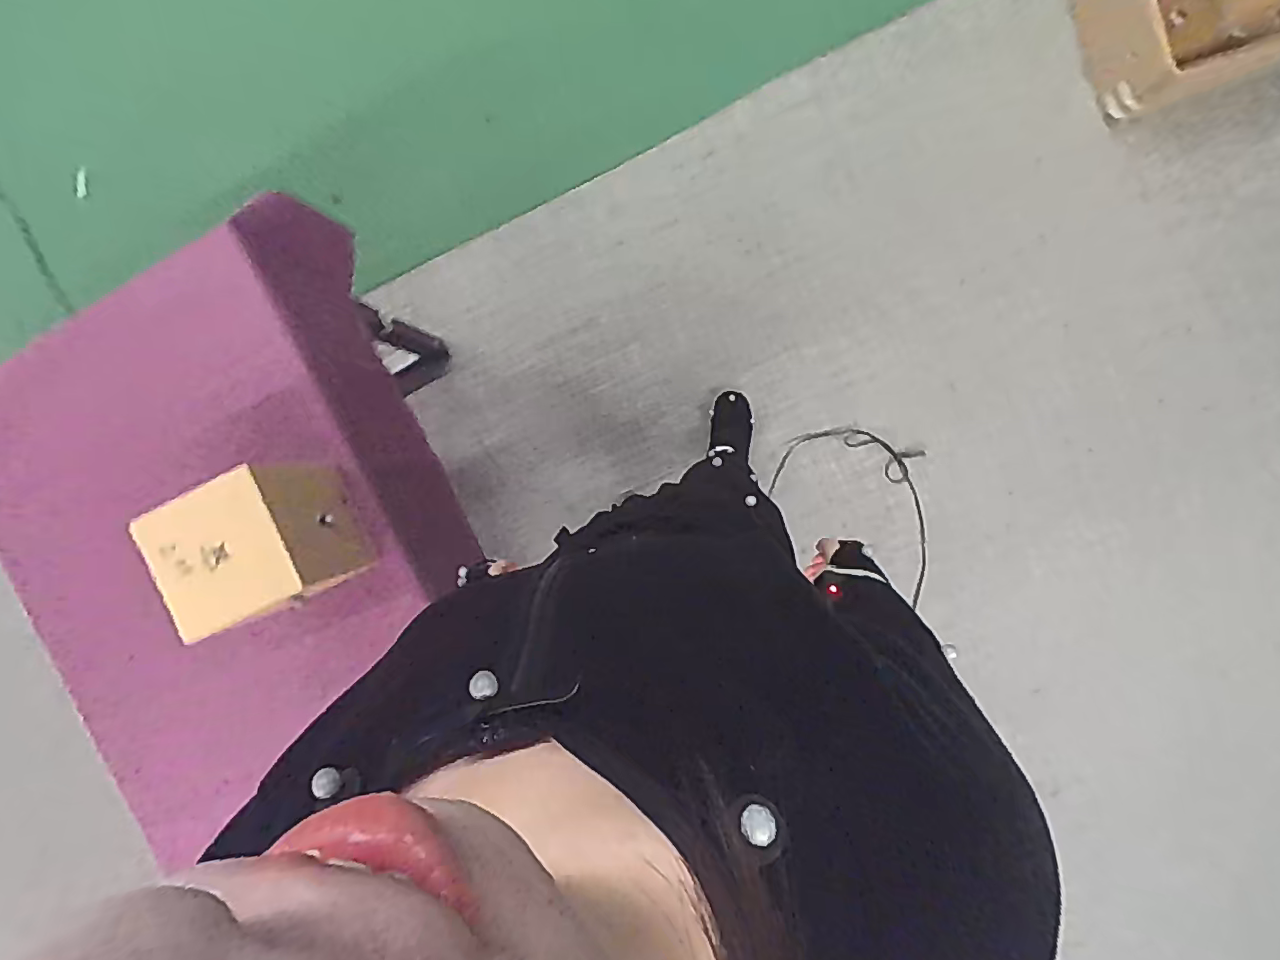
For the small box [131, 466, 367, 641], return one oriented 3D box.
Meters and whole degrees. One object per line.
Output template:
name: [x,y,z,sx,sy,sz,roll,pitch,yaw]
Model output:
small box: [-0.505,0.086,0.732,0.179,0.176,0.168,-25,90,5]
